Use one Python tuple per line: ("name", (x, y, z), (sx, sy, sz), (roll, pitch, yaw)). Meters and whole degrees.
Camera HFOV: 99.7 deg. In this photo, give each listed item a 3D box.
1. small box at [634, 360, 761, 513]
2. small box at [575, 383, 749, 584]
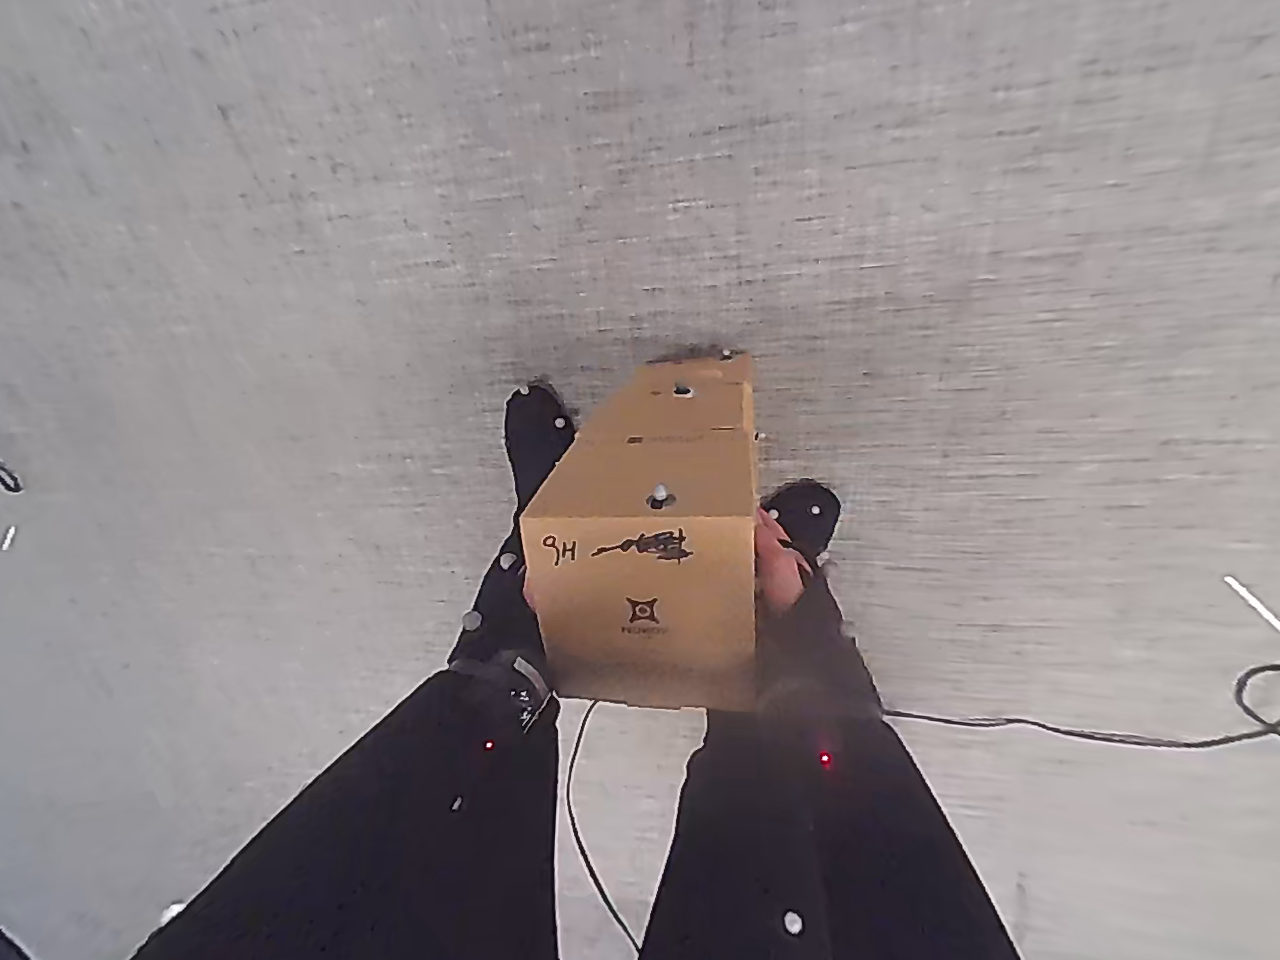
("small box", (0.080, -0.065, 0.759), (0.168, 0.176, 0.179), (-4, 114, 14))
("small box", (0.039, -0.001, 0.616), (0.168, 0.176, 0.179), (-3, 113, 12))
